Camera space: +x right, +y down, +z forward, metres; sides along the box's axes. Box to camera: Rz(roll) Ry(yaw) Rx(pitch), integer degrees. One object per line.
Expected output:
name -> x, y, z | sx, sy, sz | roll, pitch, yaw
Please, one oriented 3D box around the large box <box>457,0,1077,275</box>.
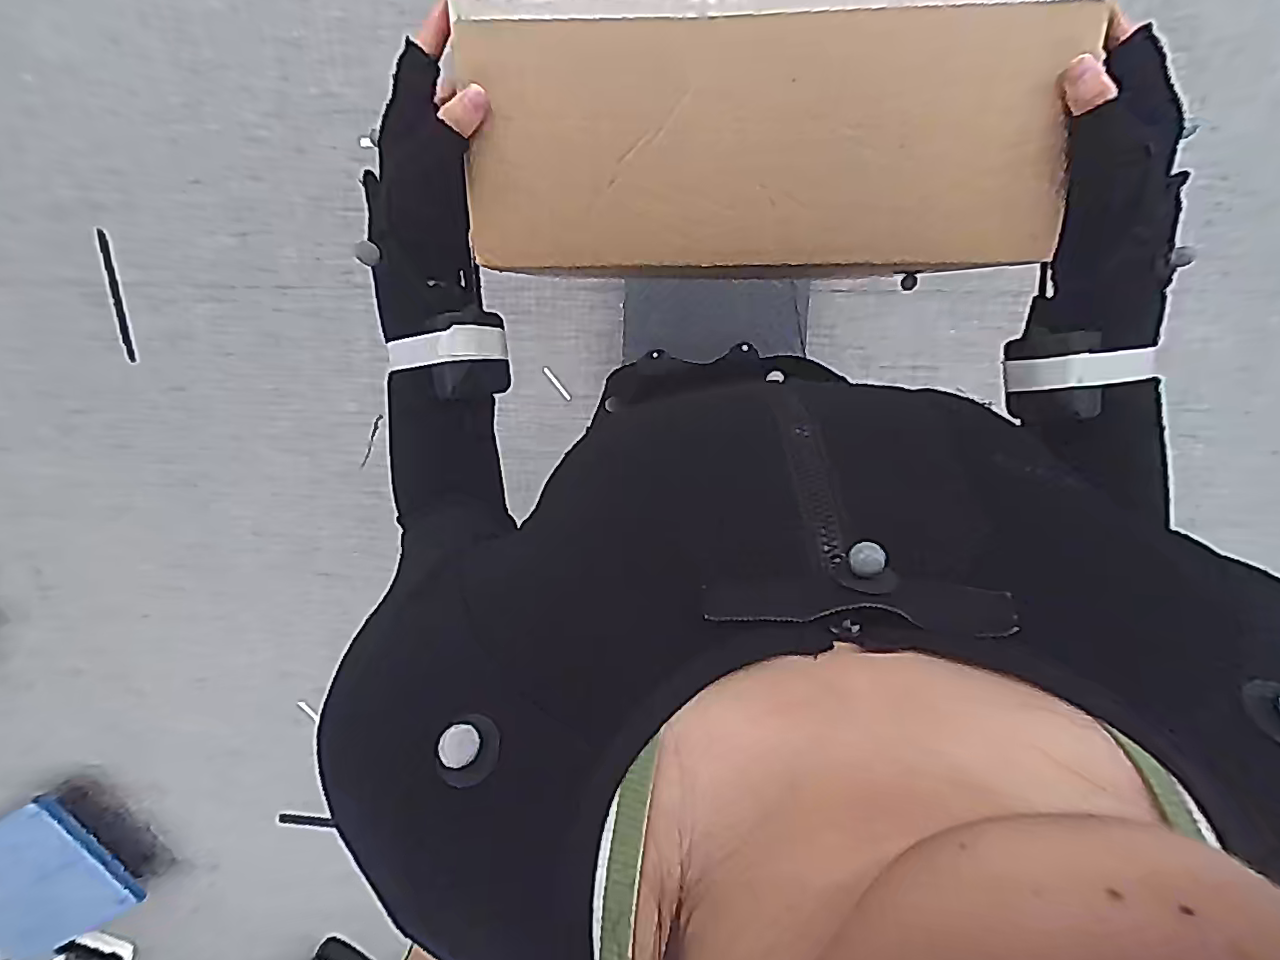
large box -> 0.085, -0.353, 0.486 | 0.408, 0.320, 0.320 | 0, 109, 2
